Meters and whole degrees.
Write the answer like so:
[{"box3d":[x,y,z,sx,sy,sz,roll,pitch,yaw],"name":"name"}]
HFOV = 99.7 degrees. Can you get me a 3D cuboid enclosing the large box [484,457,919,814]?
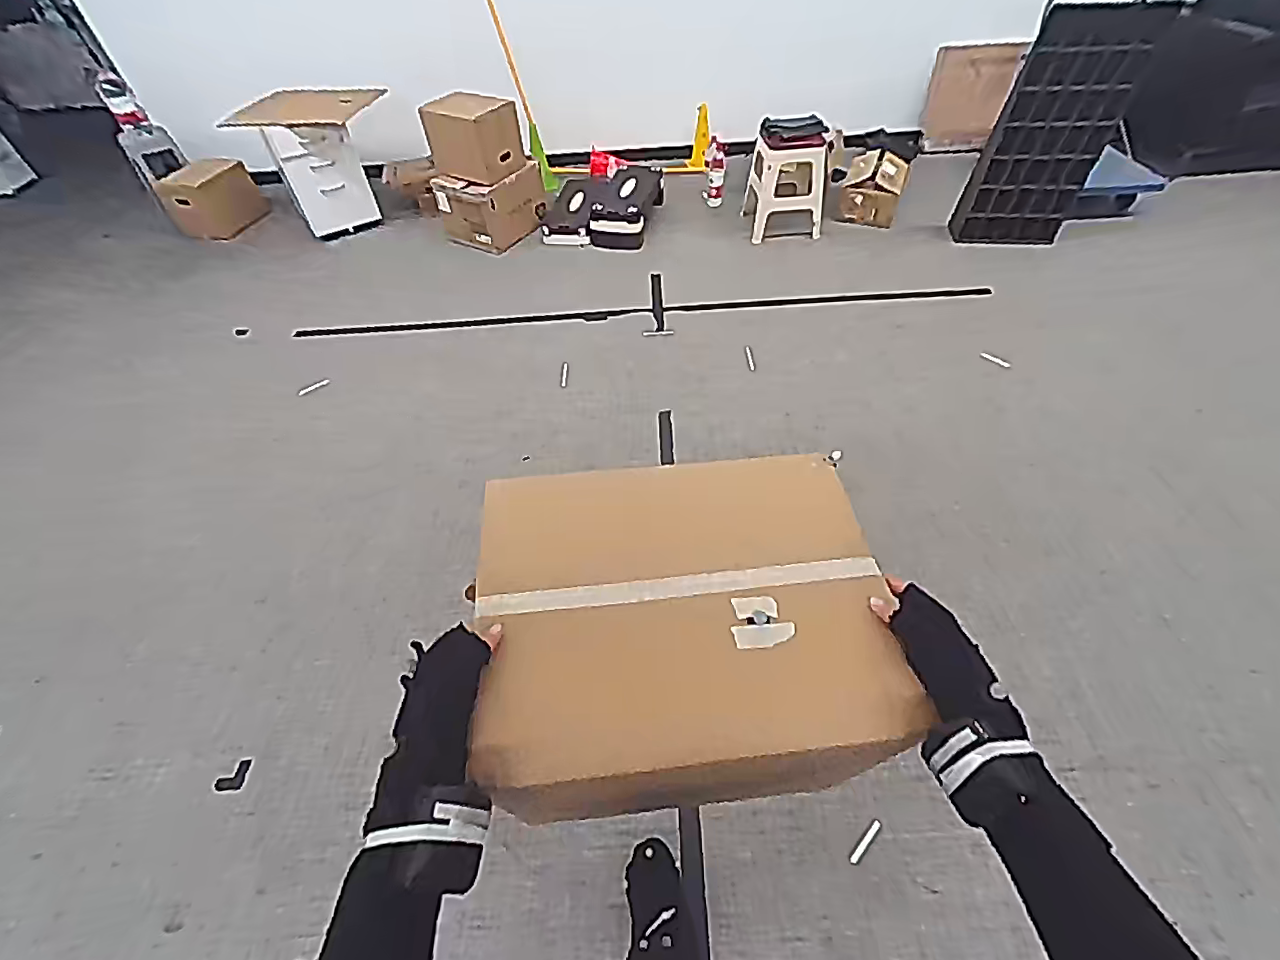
[{"box3d":[0.039,0.201,0.681,0.408,0.320,0.320,-5,54,-5],"name":"large box"}]
